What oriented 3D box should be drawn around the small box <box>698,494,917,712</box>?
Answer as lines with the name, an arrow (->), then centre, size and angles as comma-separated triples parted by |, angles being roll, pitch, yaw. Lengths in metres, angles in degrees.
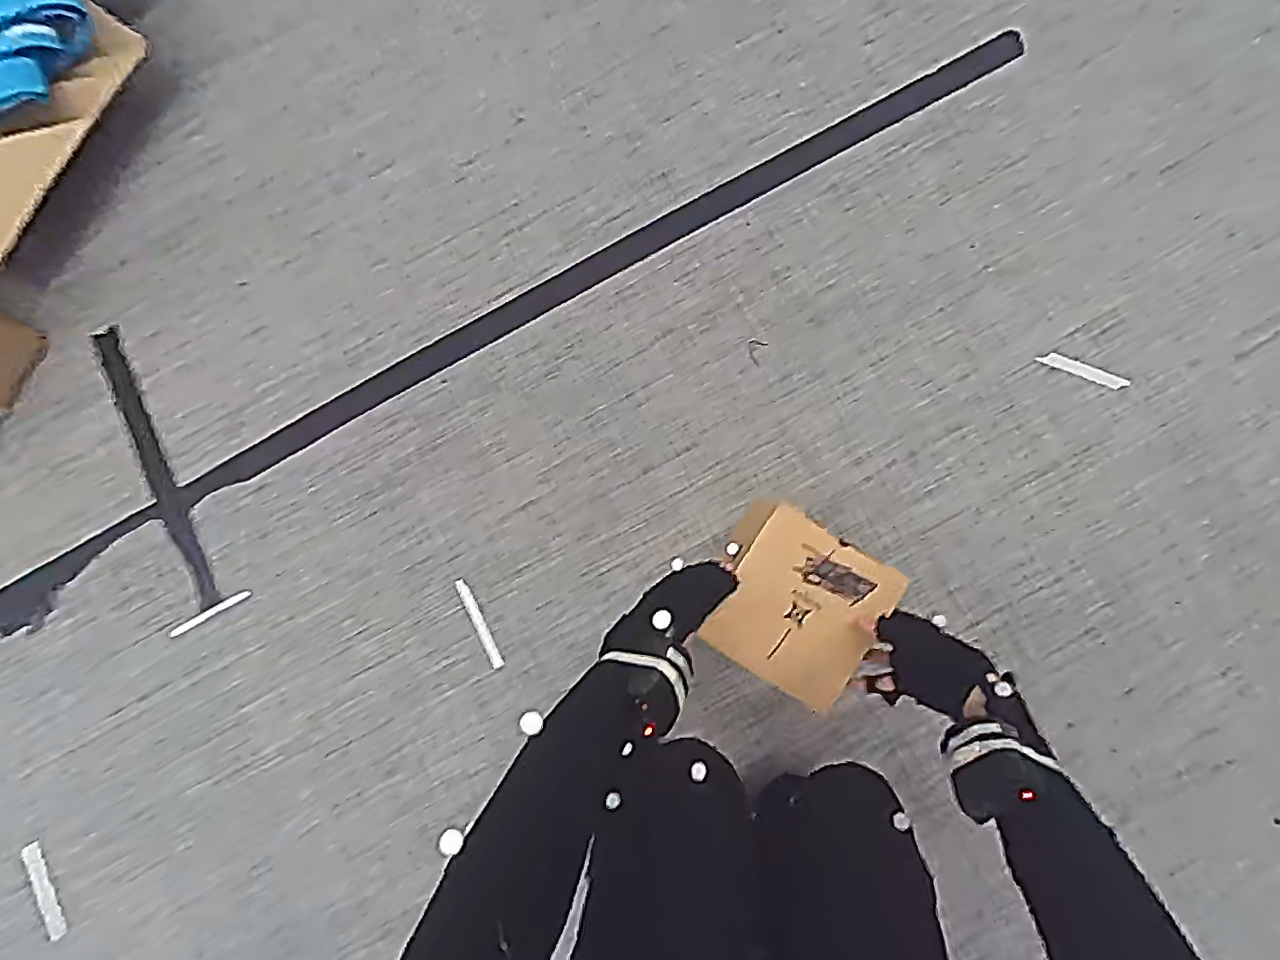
small box -> 0.179, 0.129, 0.646 | 0.168, 0.176, 0.179 | 32, 91, 2
